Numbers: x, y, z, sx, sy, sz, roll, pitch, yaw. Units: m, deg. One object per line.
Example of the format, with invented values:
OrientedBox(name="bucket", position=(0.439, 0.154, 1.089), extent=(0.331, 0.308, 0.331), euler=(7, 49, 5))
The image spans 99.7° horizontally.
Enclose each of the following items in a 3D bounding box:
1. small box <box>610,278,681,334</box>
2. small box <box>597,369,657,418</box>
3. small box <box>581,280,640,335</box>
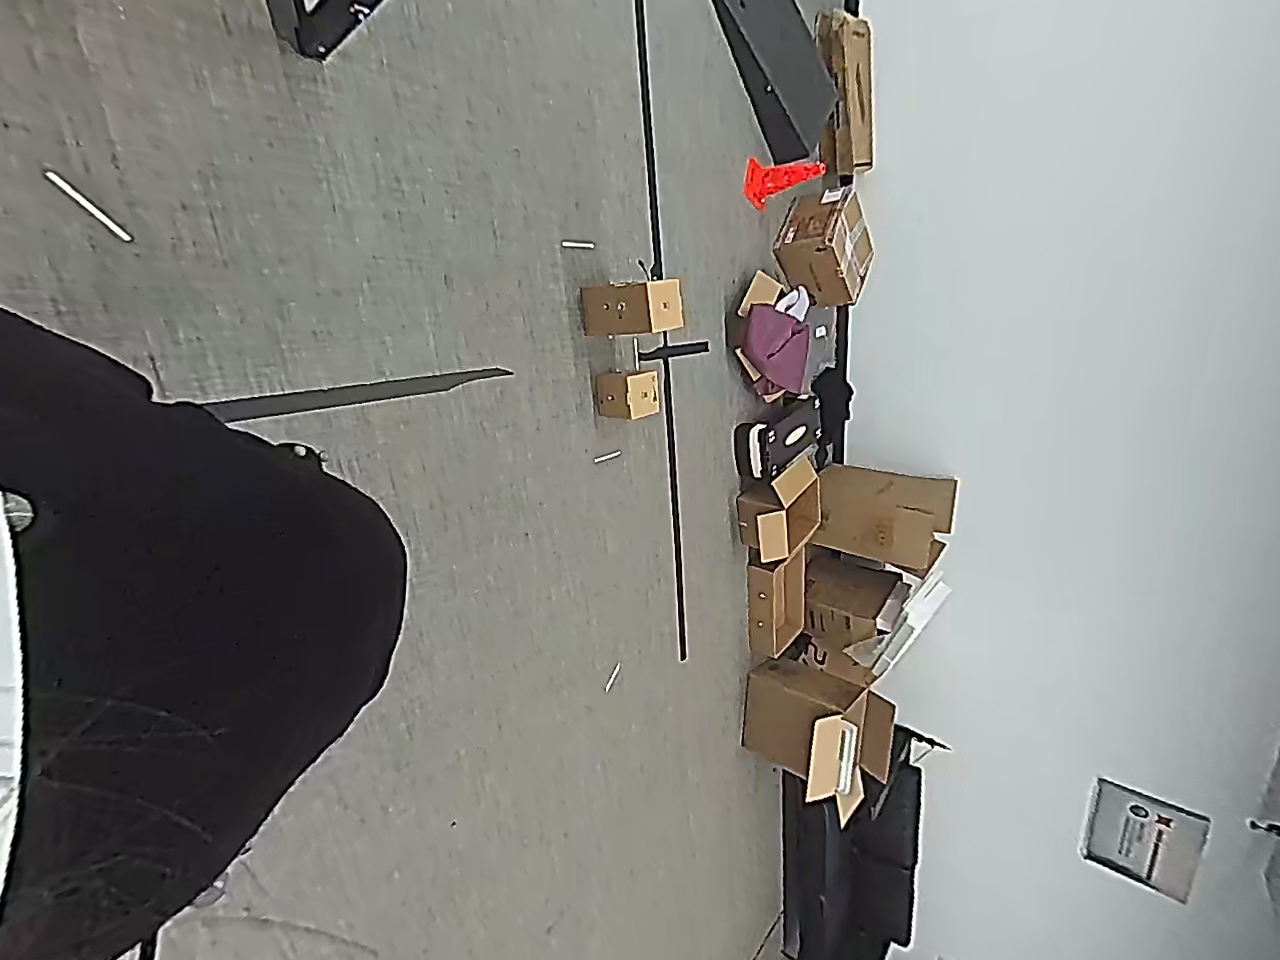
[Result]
OrientedBox(name="small box", position=(0.019, -0.608, 1.890), extent=(0.179, 0.176, 0.168), euler=(-27, 116, -42))
OrientedBox(name="small box", position=(-0.056, -0.342, 2.117), extent=(0.179, 0.176, 0.168), euler=(-22, 114, -44))
OrientedBox(name="small box", position=(-0.101, -0.635, 1.995), extent=(0.168, 0.176, 0.179), euler=(-24, 117, -44))
